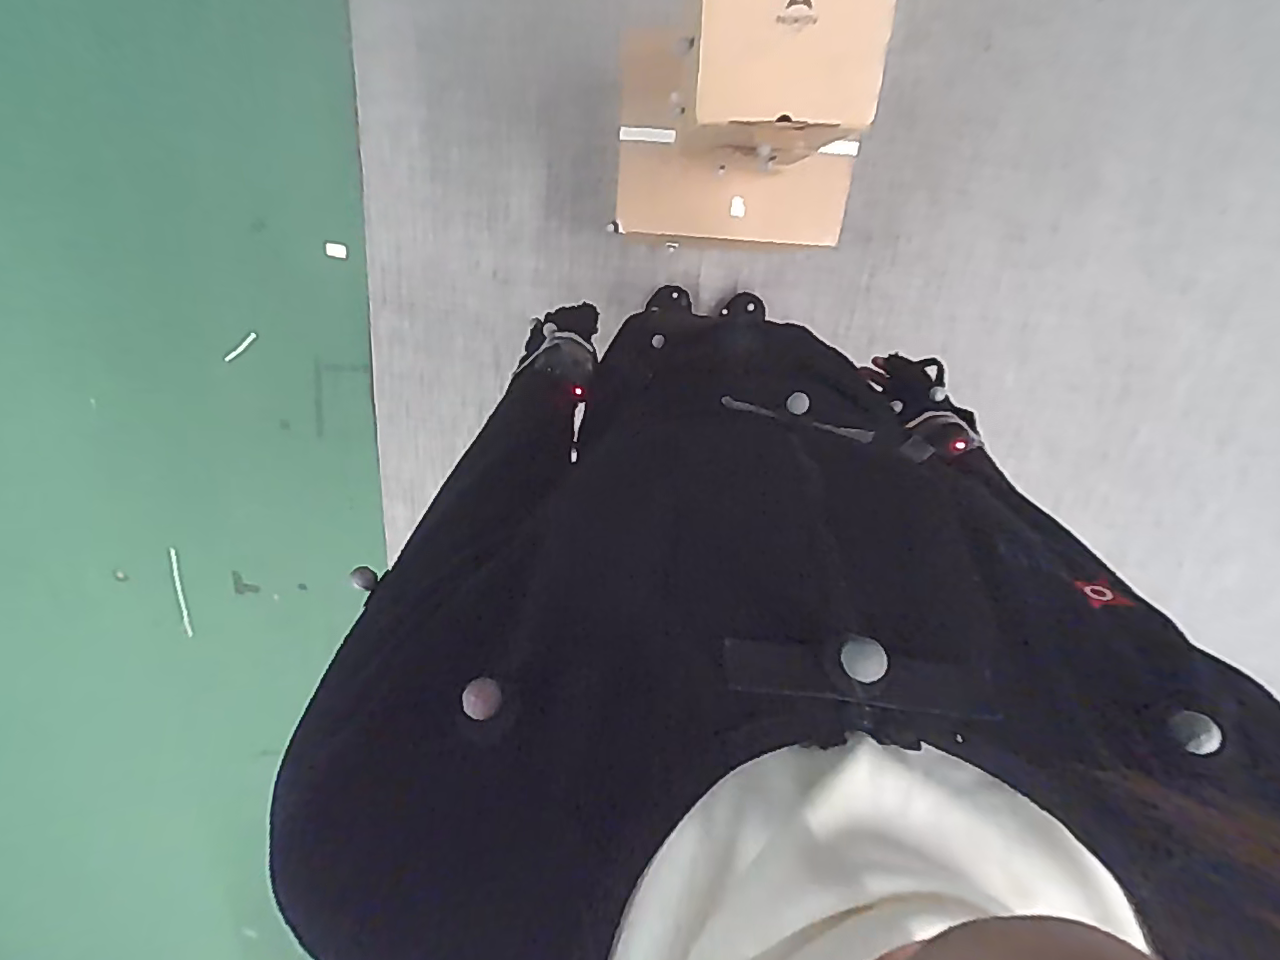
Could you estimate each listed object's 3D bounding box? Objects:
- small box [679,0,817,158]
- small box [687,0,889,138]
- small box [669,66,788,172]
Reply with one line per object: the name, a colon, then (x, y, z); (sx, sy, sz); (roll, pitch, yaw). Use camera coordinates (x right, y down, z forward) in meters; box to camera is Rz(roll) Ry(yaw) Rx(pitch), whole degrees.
small box: (0.139, -0.518, 0.683); (0.168, 0.176, 0.179); (4, 115, 0)
small box: (0.135, -0.449, 0.535); (0.168, 0.176, 0.179); (2, 117, 1)
small box: (0.147, -0.584, 0.828); (0.179, 0.176, 0.168); (11, 115, -2)
